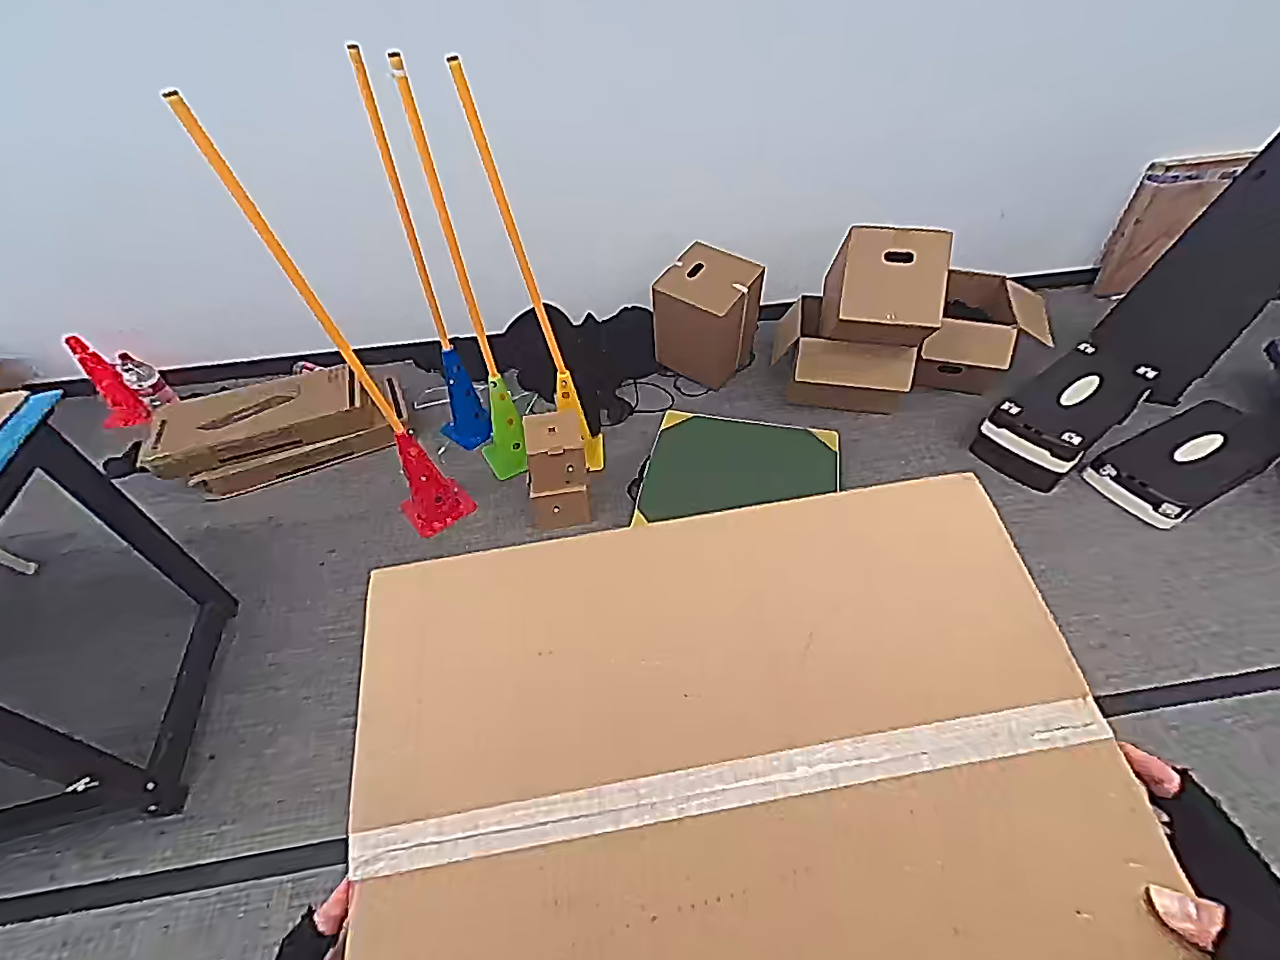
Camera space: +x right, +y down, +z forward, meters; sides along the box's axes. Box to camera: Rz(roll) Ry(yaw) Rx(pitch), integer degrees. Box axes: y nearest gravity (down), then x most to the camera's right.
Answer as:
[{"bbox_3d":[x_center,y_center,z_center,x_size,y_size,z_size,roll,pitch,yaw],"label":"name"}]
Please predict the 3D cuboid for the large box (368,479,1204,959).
[{"bbox_3d":[0.058,0.235,0.429,0.408,0.320,0.320,-9,63,-2],"label":"large box"}]
